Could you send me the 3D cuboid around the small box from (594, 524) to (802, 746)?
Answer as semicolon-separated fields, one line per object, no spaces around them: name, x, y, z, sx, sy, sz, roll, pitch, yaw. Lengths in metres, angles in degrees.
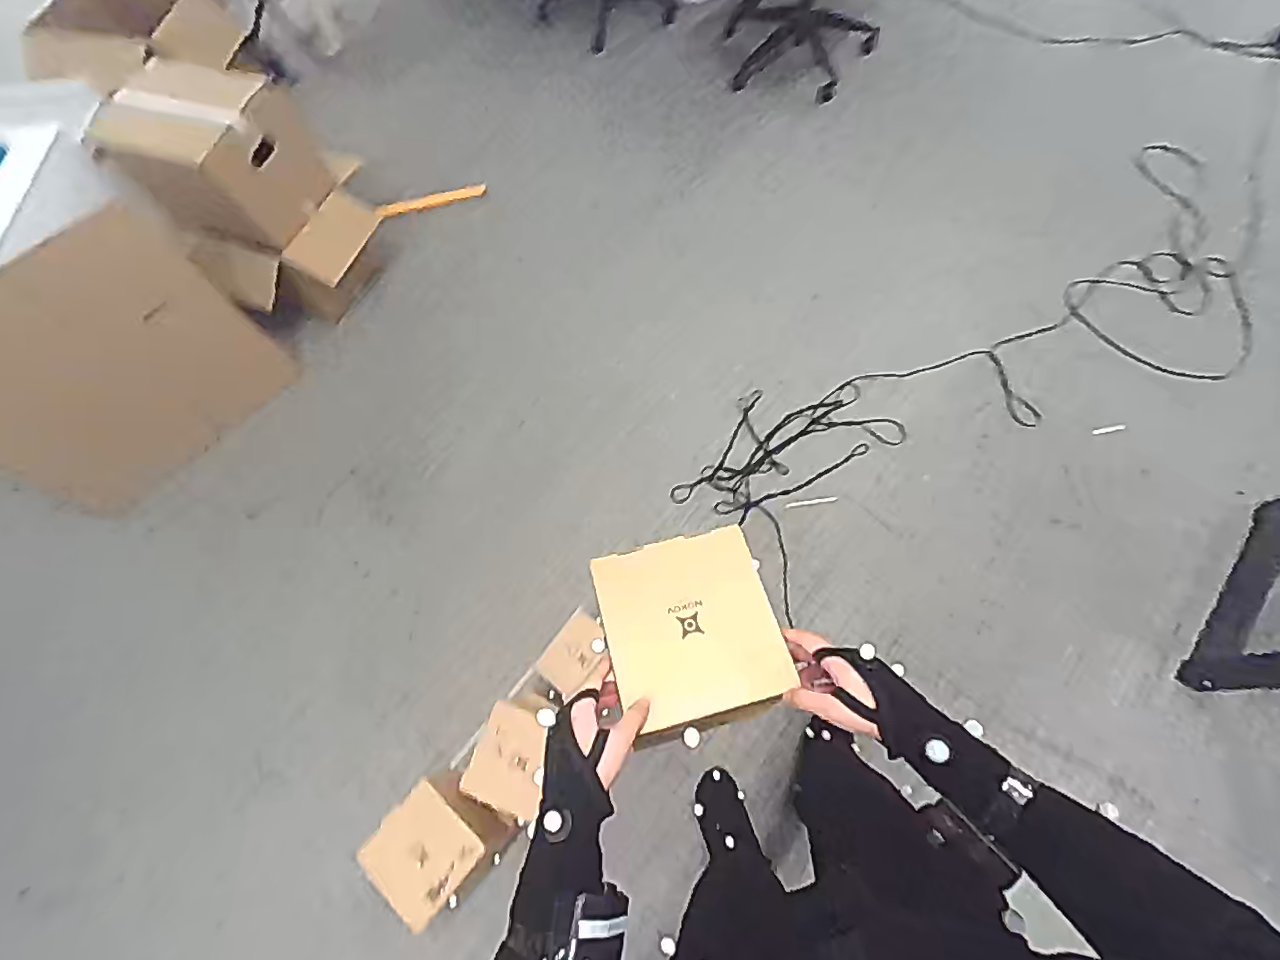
small box;0.053;0.176;0.586;0.168;0.176;0.179;-13;57;-5

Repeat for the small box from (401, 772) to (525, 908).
small box;-0.364;0.753;1.164;0.168;0.176;0.179;36;74;19

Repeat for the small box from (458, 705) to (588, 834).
small box;-0.217;0.556;1.064;0.179;0.176;0.168;18;69;12
